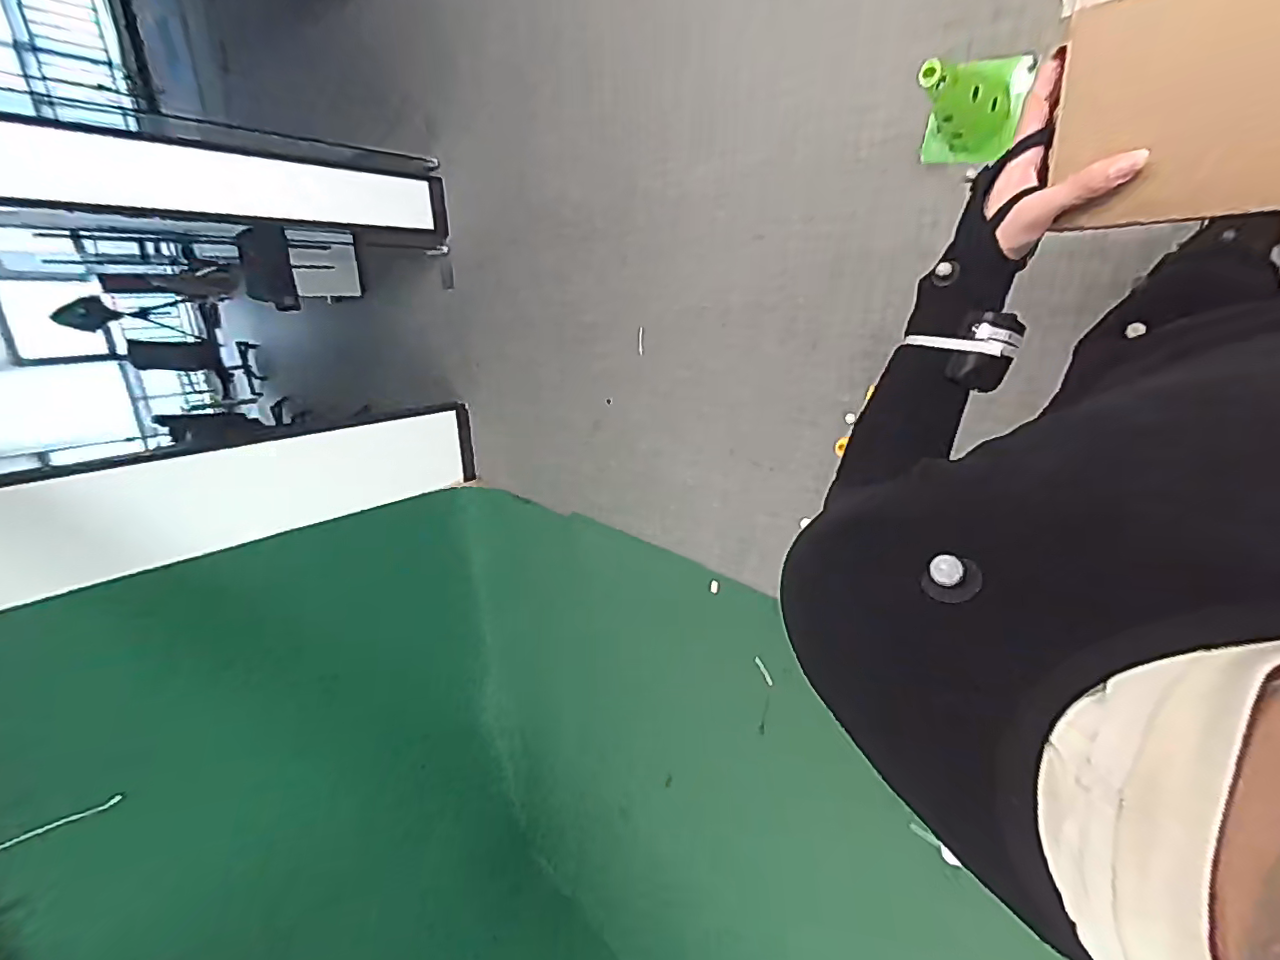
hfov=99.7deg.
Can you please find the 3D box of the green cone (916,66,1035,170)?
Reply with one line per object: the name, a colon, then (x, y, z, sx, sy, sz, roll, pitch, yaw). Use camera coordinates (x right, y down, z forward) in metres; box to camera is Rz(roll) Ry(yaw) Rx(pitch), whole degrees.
green cone: (0.670, -0.804, 1.159, 0.200, 0.368, 0.202, 25, 121, 38)
